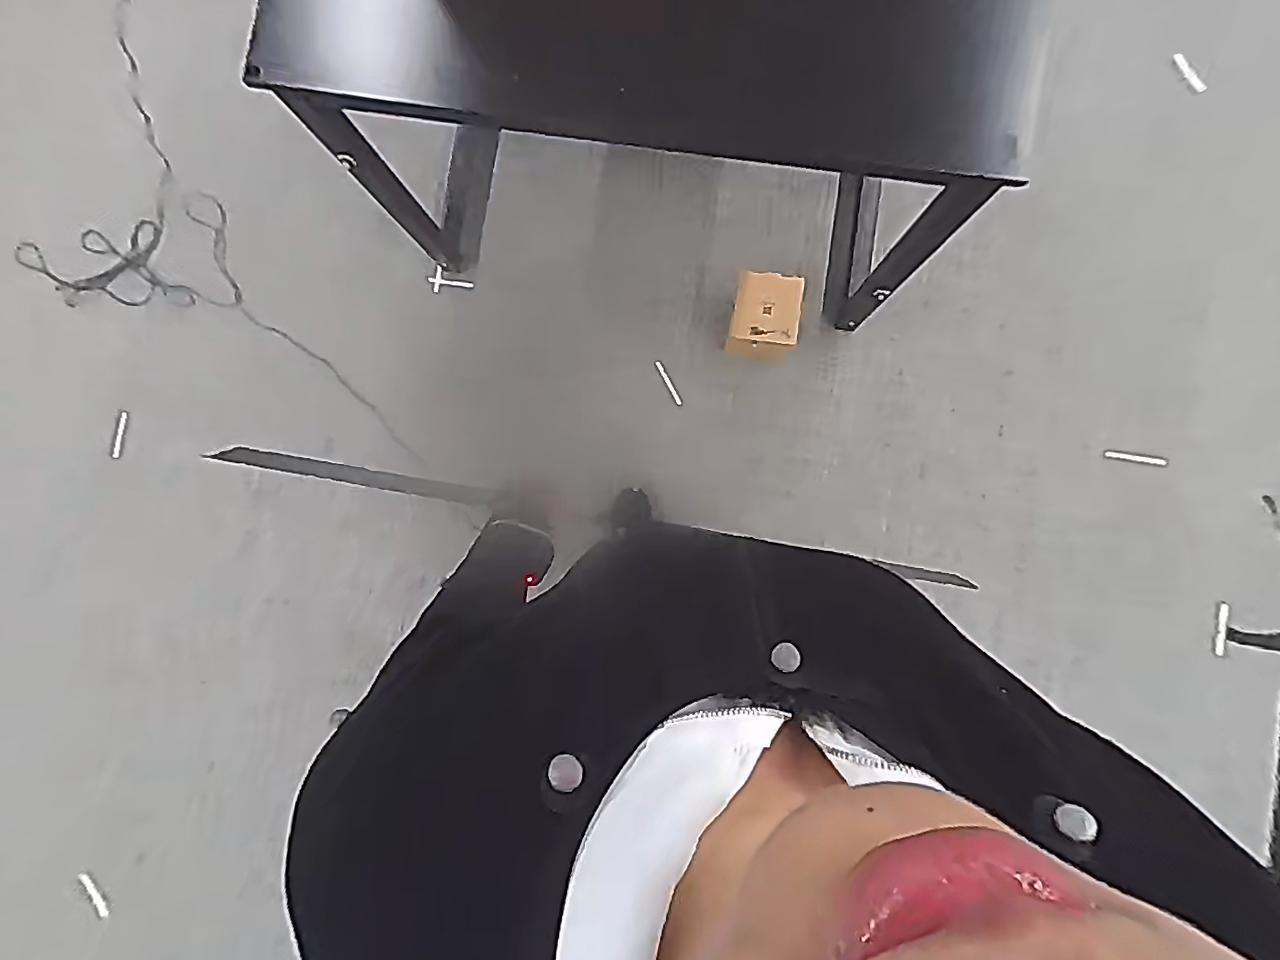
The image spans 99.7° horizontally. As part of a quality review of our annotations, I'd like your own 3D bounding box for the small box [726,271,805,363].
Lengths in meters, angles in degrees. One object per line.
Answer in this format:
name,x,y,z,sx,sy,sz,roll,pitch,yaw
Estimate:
small box,0.327,-0.429,1.441,0.168,0.176,0.179,8,87,4
